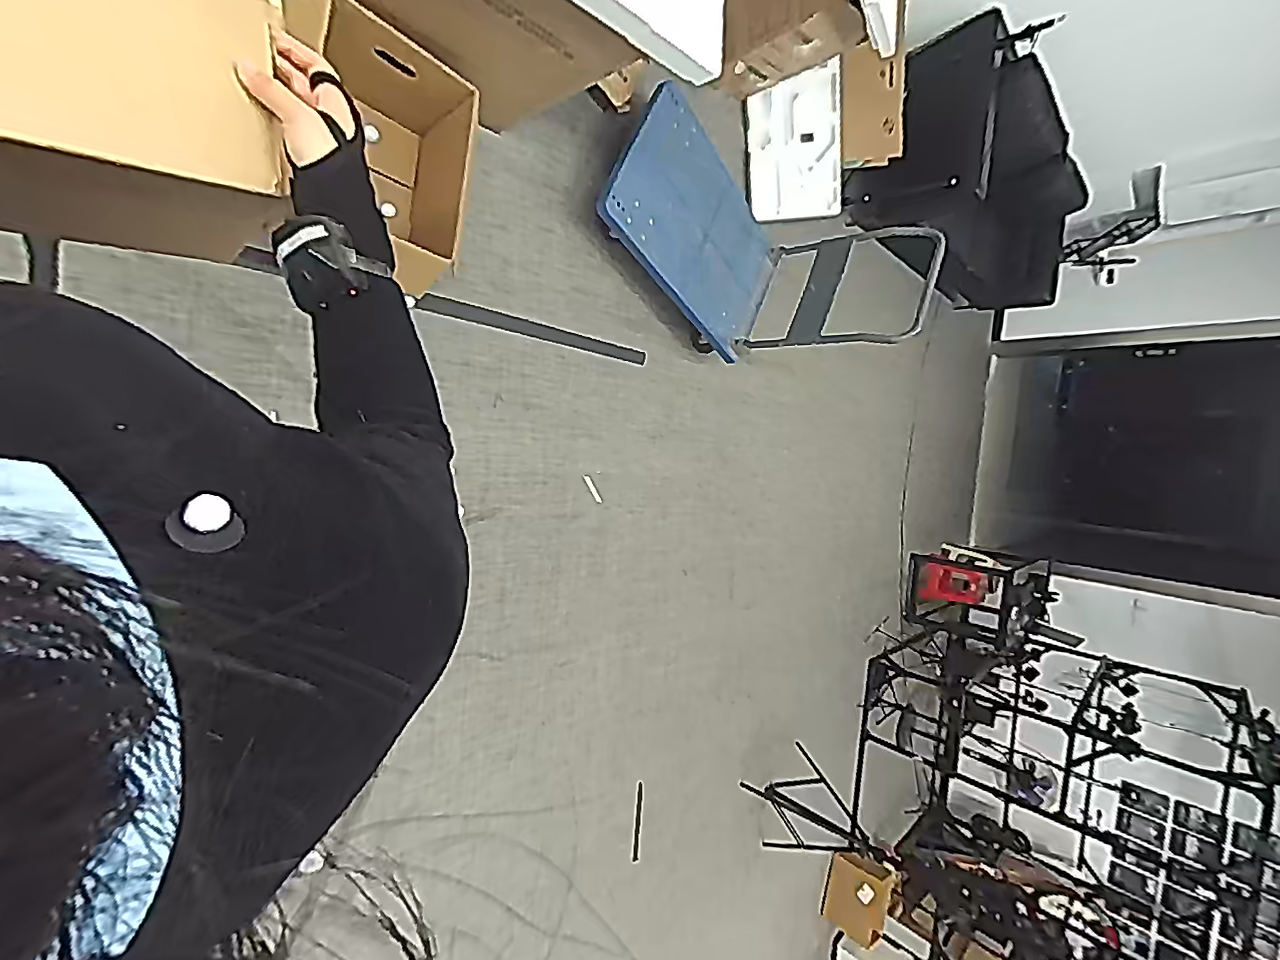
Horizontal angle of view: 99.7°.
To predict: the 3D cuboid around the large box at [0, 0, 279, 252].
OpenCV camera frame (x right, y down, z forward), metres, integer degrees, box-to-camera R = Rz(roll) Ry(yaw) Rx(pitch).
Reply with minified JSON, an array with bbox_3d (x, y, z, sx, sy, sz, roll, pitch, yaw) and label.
[{"bbox_3d":[-0.552,-0.389,0.411,0.408,0.320,0.320,-8,101,-42],"label":"large box"}]
